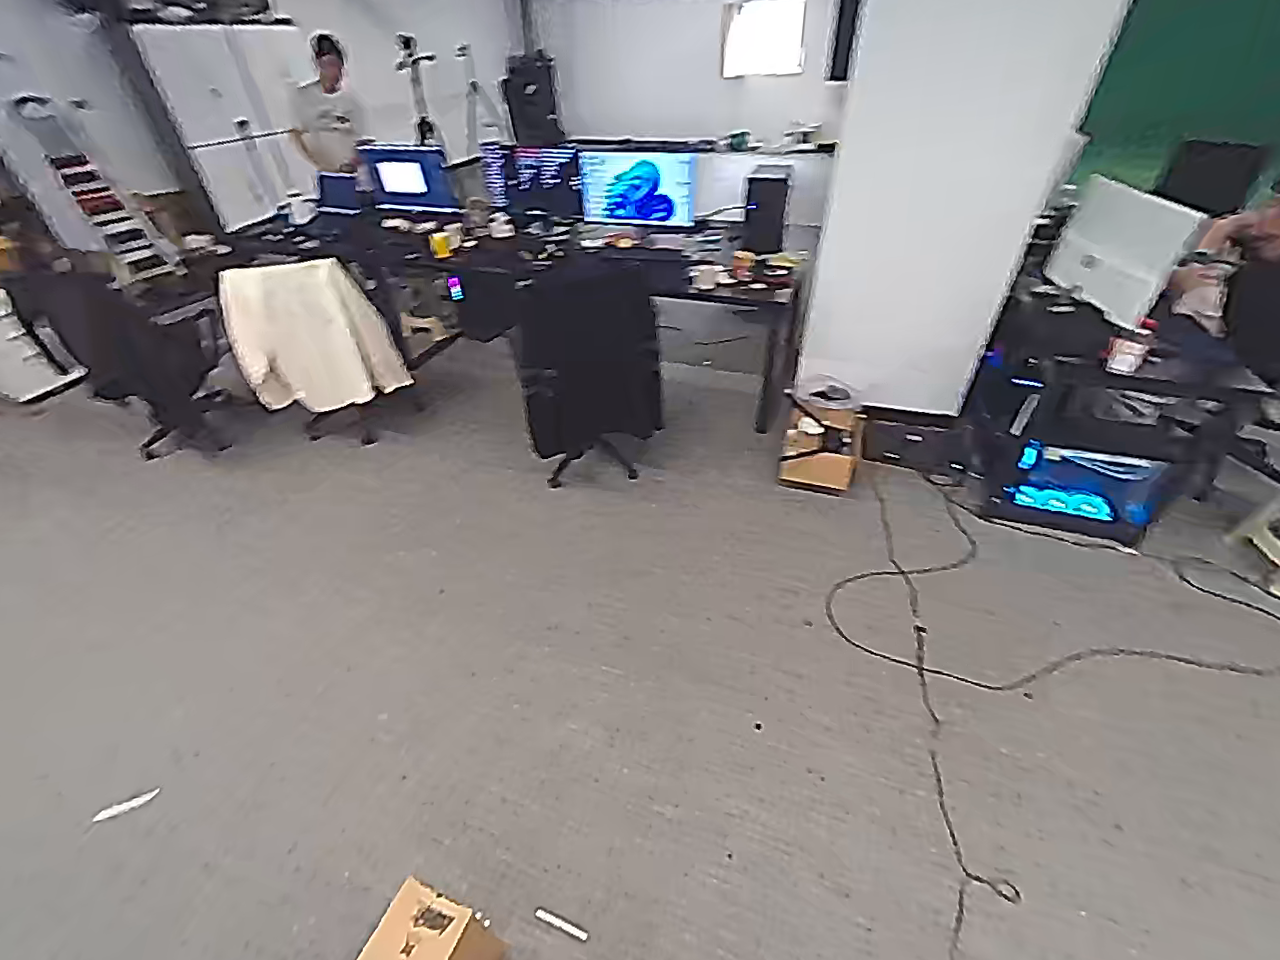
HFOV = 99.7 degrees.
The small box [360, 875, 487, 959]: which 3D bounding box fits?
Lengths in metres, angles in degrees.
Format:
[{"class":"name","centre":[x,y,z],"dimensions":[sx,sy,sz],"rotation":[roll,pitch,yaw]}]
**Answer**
[{"class":"small box","centre":[-0.430,0.954,1.092],"dimensions":[0.168,0.176,0.179],"rotation":[13,42,19]}]
